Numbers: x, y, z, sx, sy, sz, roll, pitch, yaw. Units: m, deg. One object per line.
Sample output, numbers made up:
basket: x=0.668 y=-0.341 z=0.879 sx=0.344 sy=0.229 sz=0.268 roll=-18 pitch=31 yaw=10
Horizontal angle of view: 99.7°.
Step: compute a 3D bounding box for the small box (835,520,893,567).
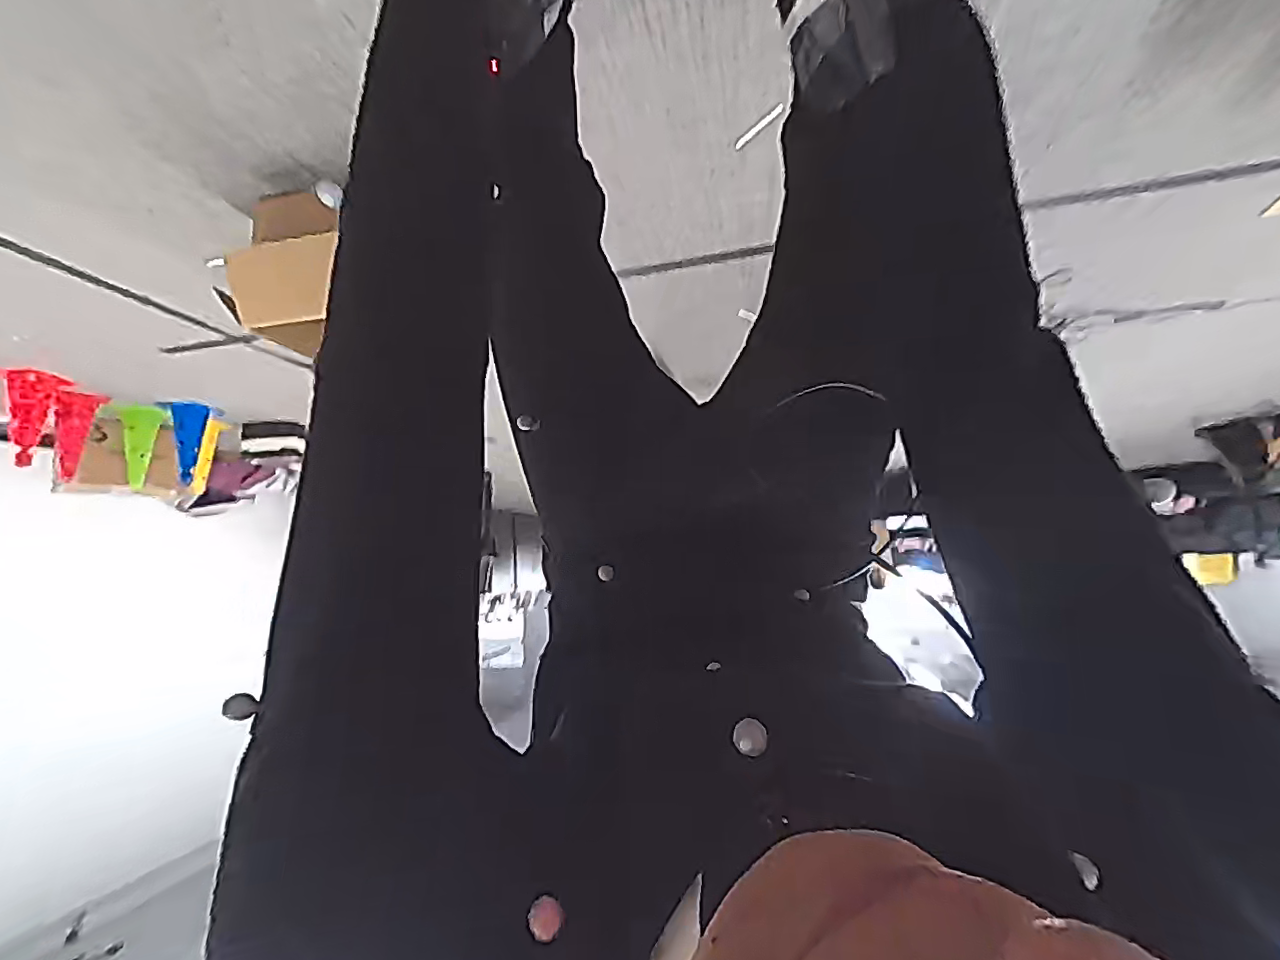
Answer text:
small box: x=0.860 y=0.247 z=2.093 sx=0.168 sy=0.176 sz=0.179 roll=-5 pitch=171 yaw=7
